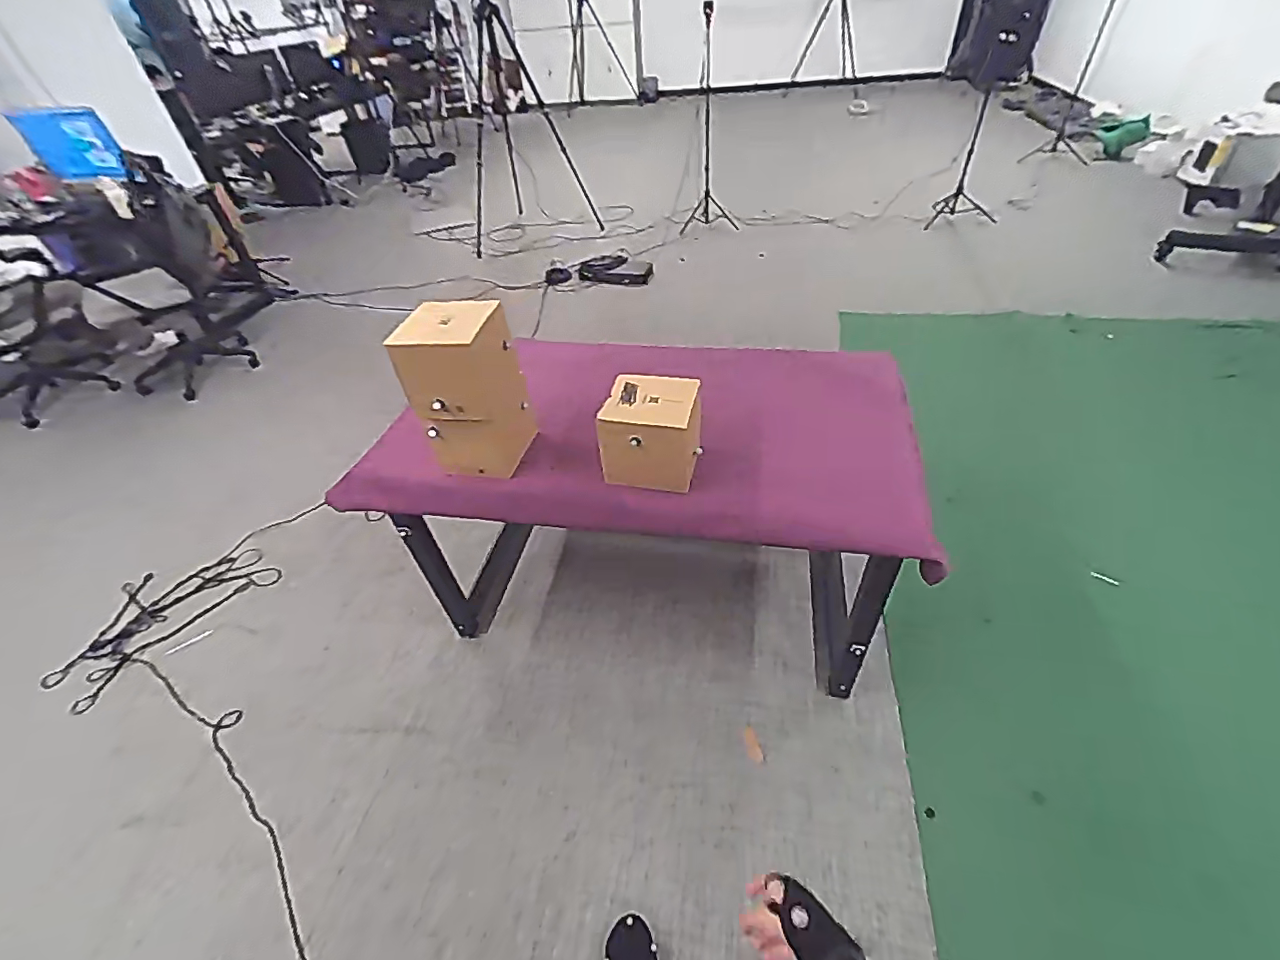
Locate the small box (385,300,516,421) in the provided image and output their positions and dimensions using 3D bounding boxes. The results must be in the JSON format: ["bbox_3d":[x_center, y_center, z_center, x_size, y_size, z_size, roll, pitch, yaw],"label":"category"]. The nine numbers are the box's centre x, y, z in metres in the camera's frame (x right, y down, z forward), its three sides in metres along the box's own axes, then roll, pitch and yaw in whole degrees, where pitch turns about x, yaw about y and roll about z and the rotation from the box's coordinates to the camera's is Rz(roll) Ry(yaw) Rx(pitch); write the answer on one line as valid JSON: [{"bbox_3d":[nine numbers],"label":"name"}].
[{"bbox_3d":[-0.353,-0.234,1.049,0.168,0.176,0.179,2,43,9],"label":"small box"}]

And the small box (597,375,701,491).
[{"bbox_3d":[0.025,-0.096,1.103,0.179,0.176,0.168,7,44,12],"label":"small box"}]
